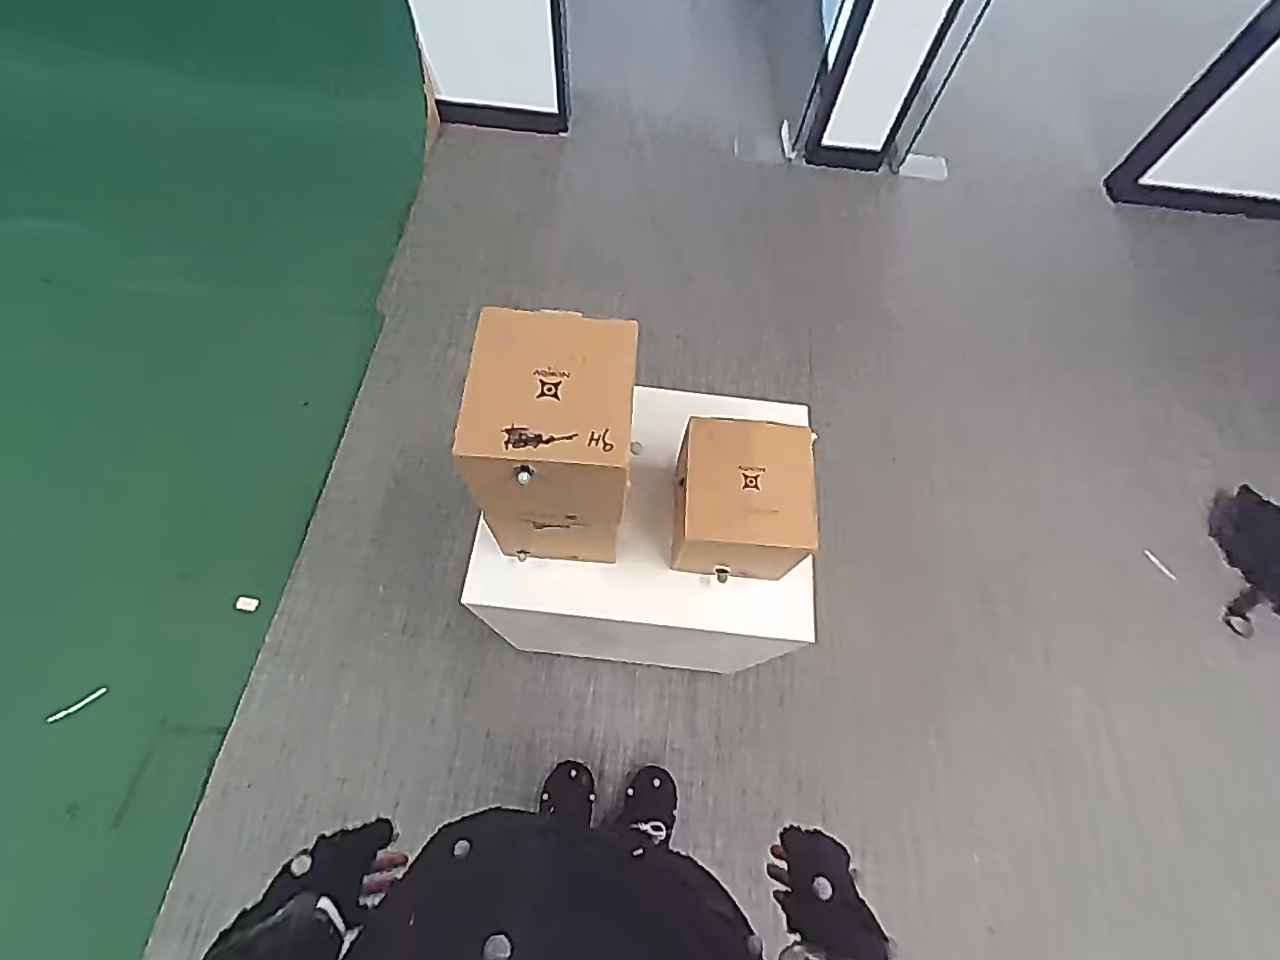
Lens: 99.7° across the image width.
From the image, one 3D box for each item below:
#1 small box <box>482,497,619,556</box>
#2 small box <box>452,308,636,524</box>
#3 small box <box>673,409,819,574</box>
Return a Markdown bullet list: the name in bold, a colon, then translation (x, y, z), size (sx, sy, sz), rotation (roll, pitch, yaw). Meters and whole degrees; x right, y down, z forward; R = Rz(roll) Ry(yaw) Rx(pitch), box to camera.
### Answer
- **small box**: translation (-0.110, 0.001, 0.760), size (0.168, 0.176, 0.179), rotation (4, 65, -2)
- **small box**: translation (-0.096, -0.065, 0.612), size (0.168, 0.176, 0.179), rotation (4, 65, -2)
- **small box**: translation (0.136, 0.022, 0.751), size (0.168, 0.176, 0.179), rotation (3, 68, 0)
